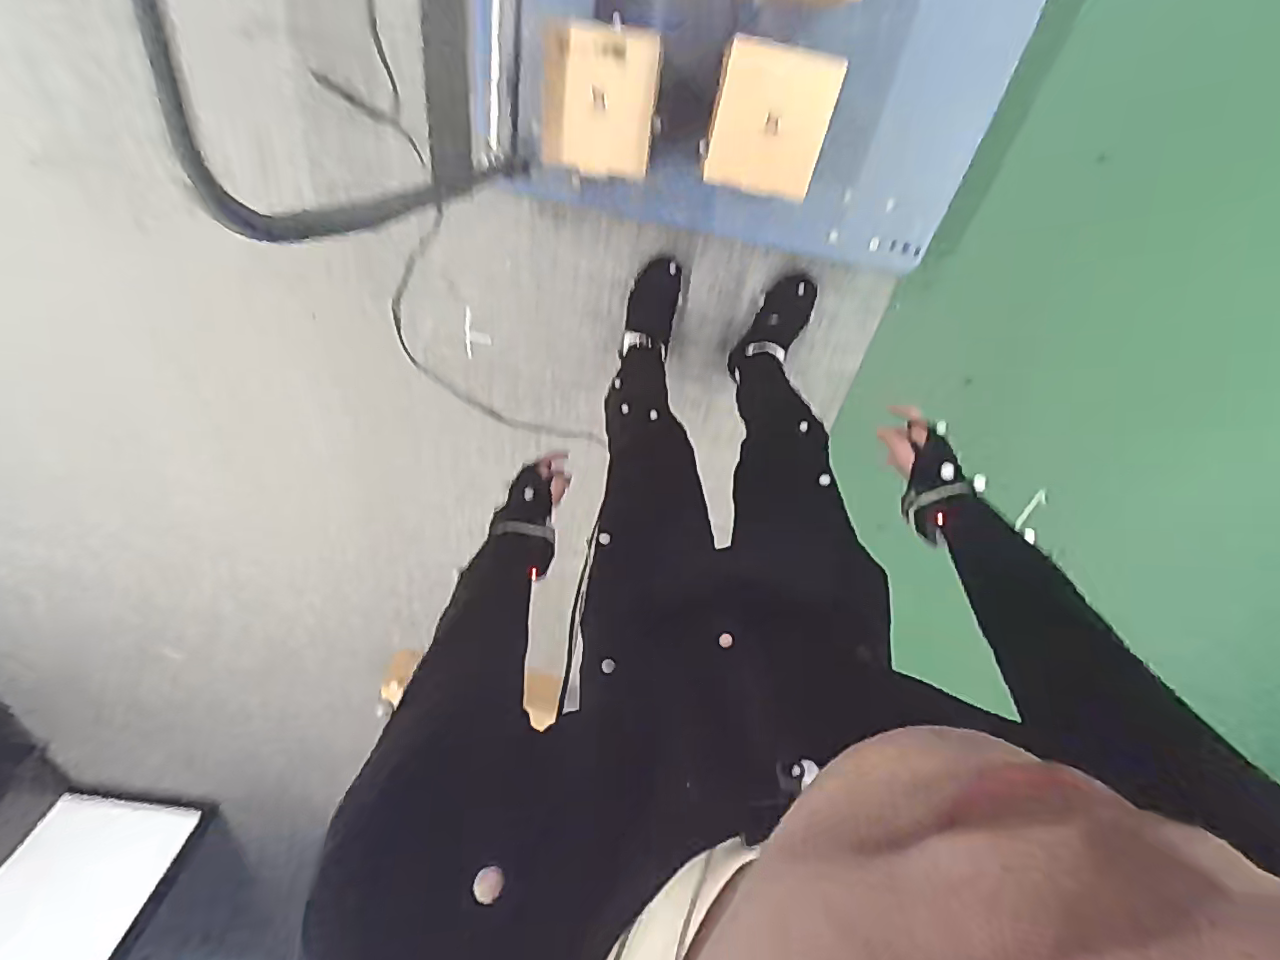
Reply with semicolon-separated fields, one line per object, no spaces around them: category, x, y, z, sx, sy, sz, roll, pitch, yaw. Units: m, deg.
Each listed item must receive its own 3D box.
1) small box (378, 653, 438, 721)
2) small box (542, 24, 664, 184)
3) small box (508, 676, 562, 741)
small box;-0.922;0.823;2.153;0.168;0.176;0.179;19;123;-11
small box;-0.055;-0.595;0.864;0.168;0.176;0.179;9;126;-2
small box;-0.422;0.923;2.192;0.179;0.176;0.168;15;124;-6
